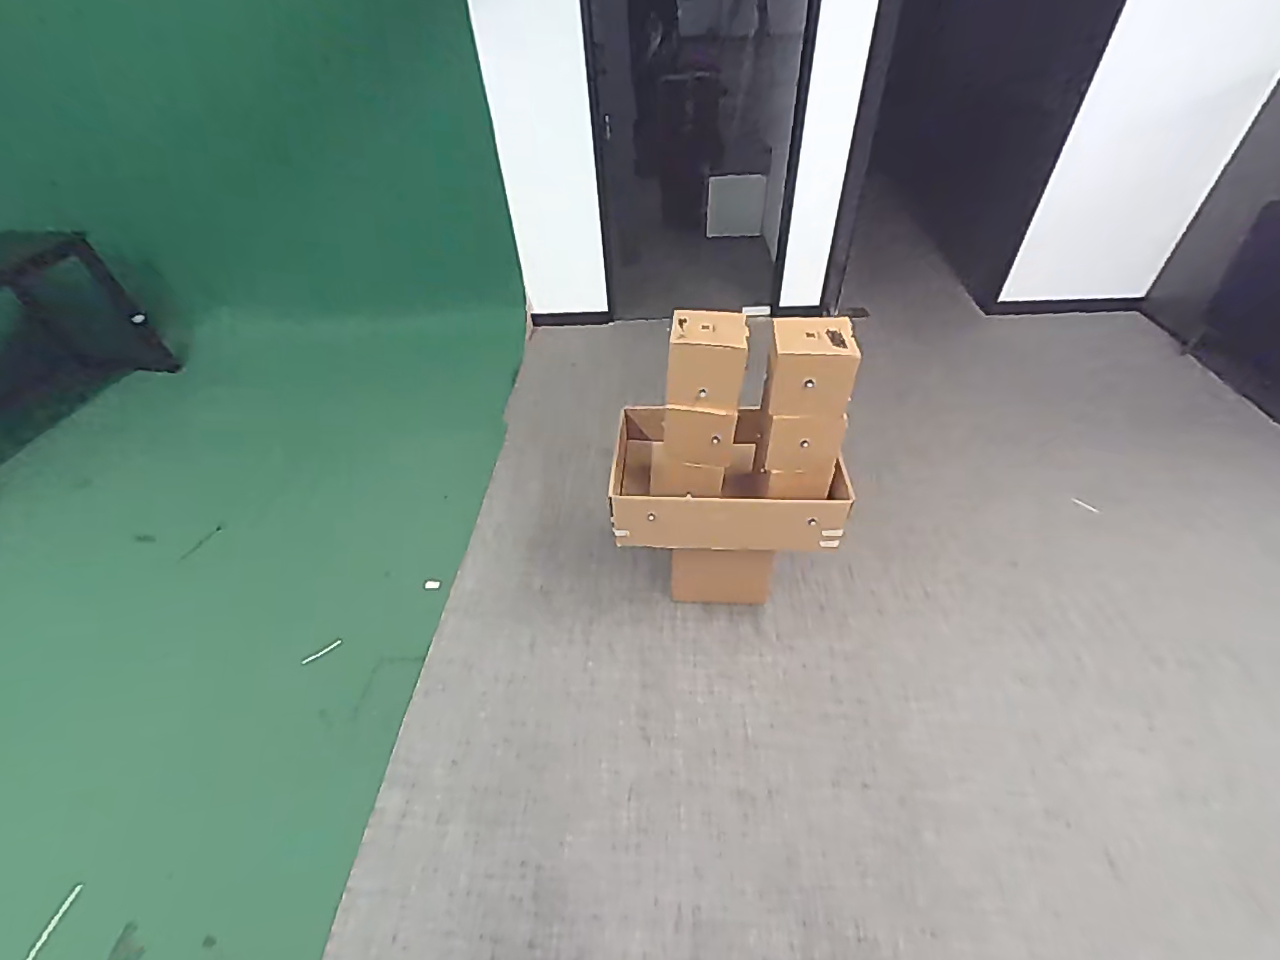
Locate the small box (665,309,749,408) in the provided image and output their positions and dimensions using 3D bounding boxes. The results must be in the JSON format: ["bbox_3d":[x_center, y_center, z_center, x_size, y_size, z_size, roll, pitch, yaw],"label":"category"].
[{"bbox_3d":[0.160,-0.289,1.303,0.179,0.176,0.168,6,43,3],"label":"small box"}]

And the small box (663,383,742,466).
[{"bbox_3d":[0.160,-0.155,1.397,0.179,0.176,0.168,8,43,7],"label":"small box"}]

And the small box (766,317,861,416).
[{"bbox_3d":[0.393,-0.262,1.255,0.179,0.176,0.168,2,44,8],"label":"small box"}]
